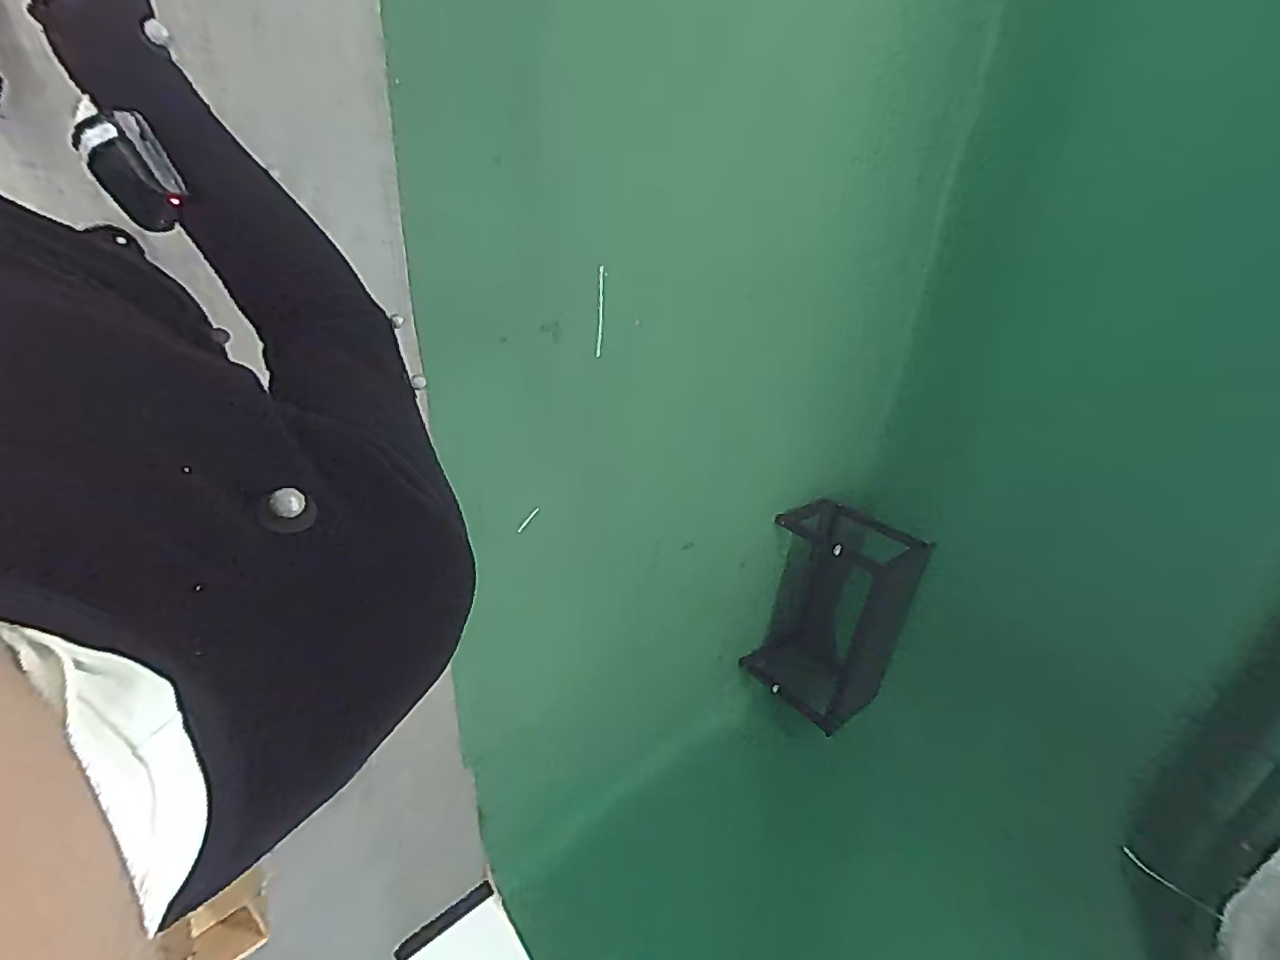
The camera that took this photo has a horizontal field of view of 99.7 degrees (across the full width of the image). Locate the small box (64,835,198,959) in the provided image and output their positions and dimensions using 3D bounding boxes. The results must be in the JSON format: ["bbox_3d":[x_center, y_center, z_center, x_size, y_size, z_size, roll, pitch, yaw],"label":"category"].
[{"bbox_3d":[-1.079,0.915,1.156,0.168,0.176,0.179,-21,127,-36],"label":"small box"}]

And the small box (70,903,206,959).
[{"bbox_3d":[-0.972,0.980,1.050,0.168,0.176,0.179,-23,129,-34],"label":"small box"}]
